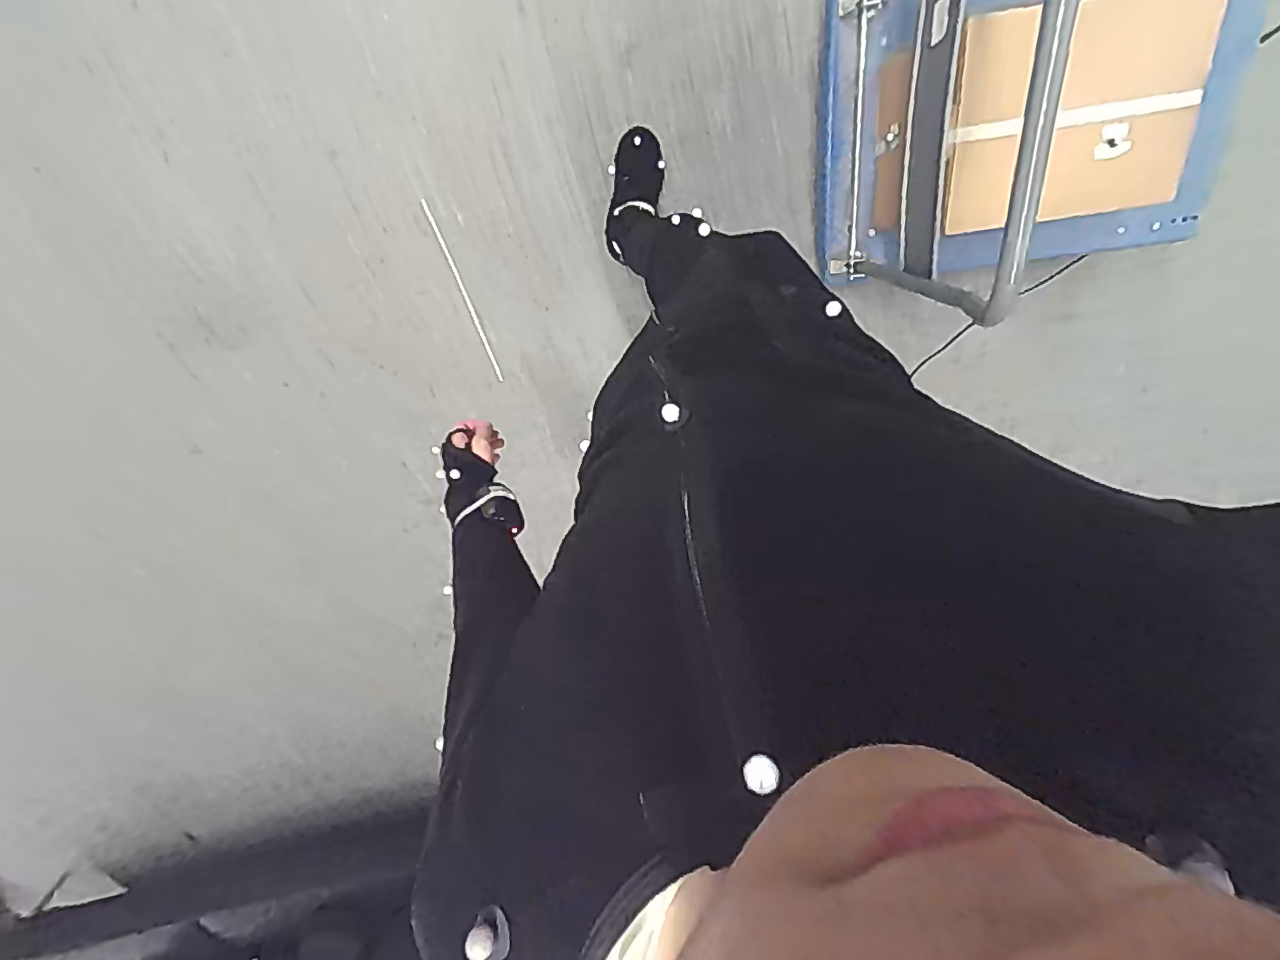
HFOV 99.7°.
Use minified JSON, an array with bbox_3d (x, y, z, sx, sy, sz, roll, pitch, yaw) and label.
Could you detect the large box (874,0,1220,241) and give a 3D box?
[{"bbox_3d":[0.707,-0.656,1.026,0.408,0.320,0.320,-8,117,1],"label":"large box"}]
